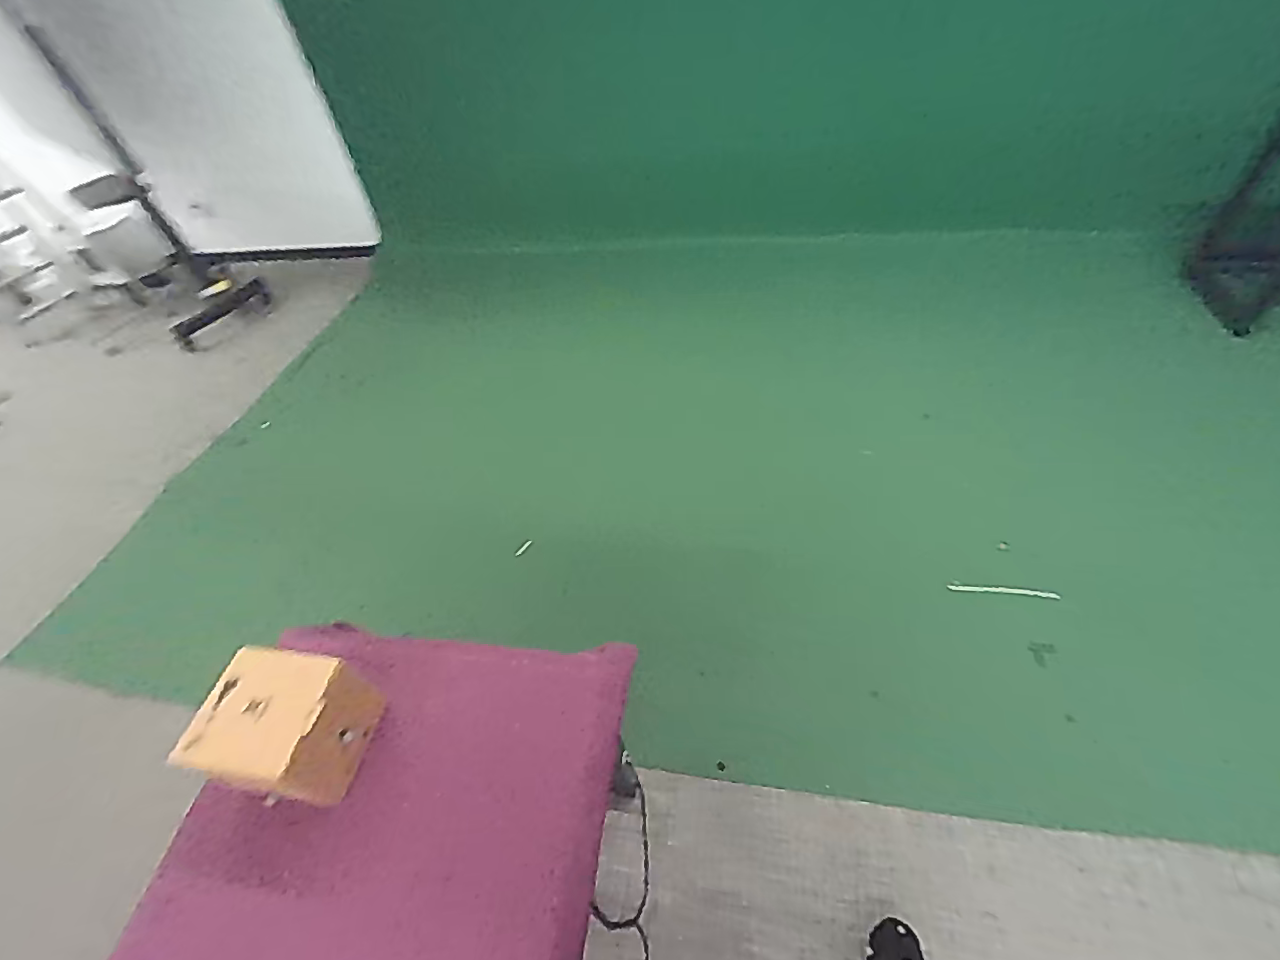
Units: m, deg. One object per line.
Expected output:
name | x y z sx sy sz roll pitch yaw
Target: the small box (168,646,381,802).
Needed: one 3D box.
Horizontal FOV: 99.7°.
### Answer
small box | -0.537 0.377 0.828 0.179 0.176 0.168 5 49 9
